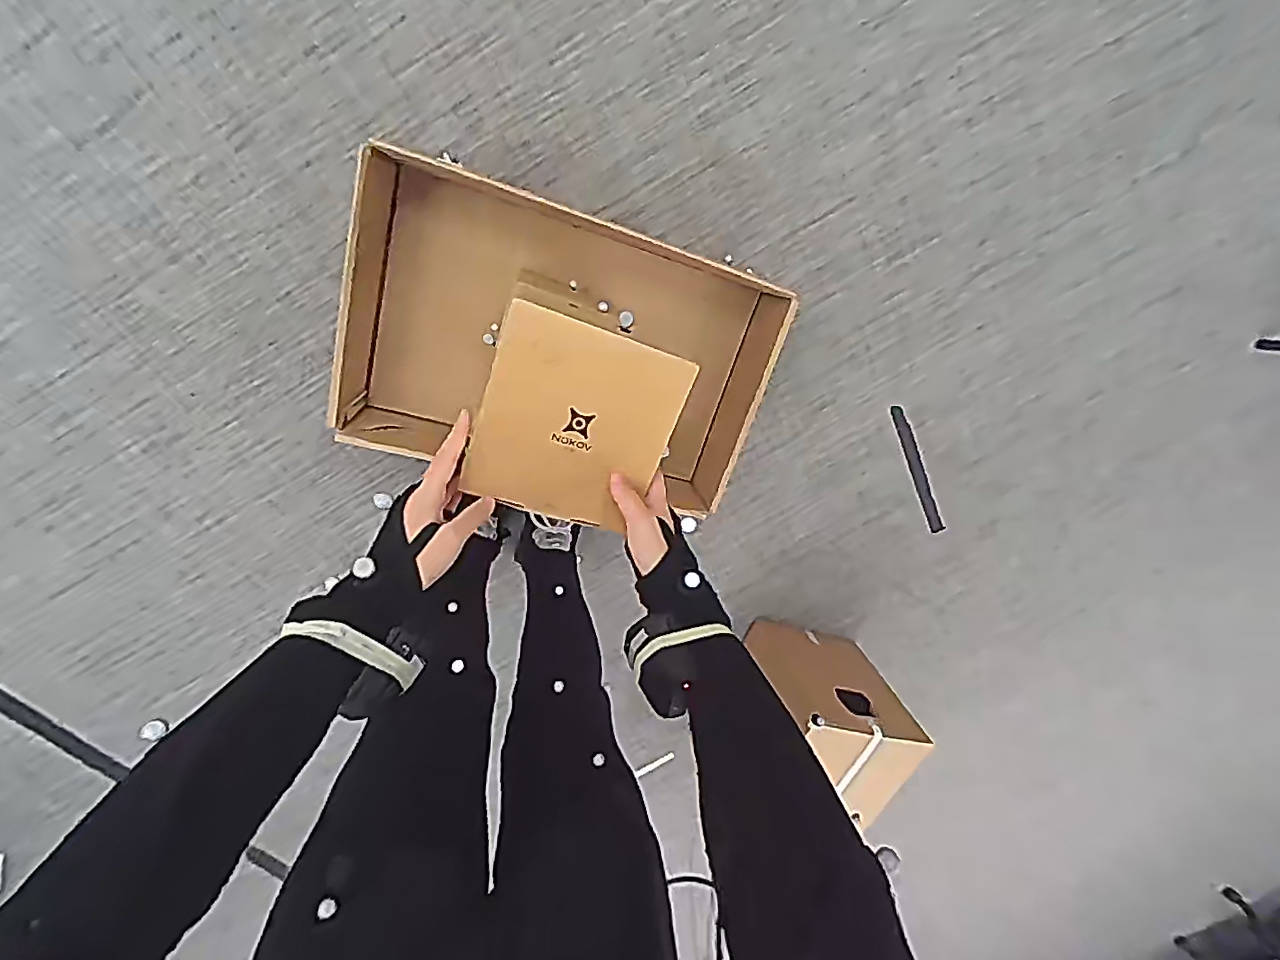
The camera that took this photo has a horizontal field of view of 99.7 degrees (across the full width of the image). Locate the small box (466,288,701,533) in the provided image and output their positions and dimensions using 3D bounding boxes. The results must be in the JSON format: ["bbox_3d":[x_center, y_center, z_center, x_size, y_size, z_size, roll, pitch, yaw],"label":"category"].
[{"bbox_3d":[-0.065,-0.077,0.541,0.168,0.176,0.179,16,111,-17],"label":"small box"}]

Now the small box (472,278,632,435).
[{"bbox_3d":[-0.102,-0.139,0.688,0.168,0.176,0.179,16,110,-18],"label":"small box"}]
